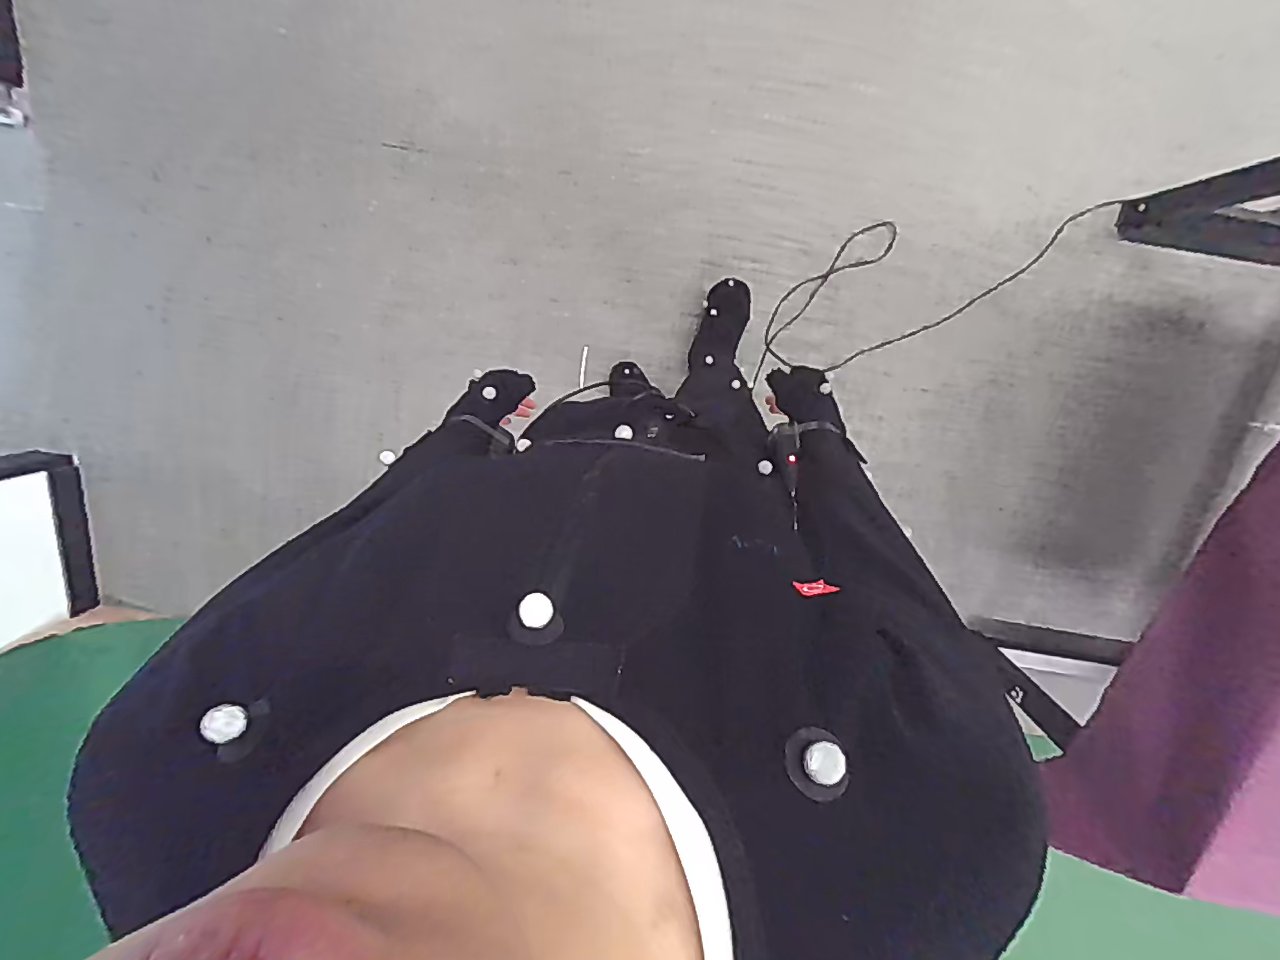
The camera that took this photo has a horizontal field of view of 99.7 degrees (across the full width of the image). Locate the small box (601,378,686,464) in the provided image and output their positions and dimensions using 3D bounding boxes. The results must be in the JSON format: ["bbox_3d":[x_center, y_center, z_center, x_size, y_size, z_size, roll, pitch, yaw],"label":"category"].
[{"bbox_3d":[0.010,-0.154,1.400,0.179,0.176,0.168,25,98,1],"label":"small box"}]
